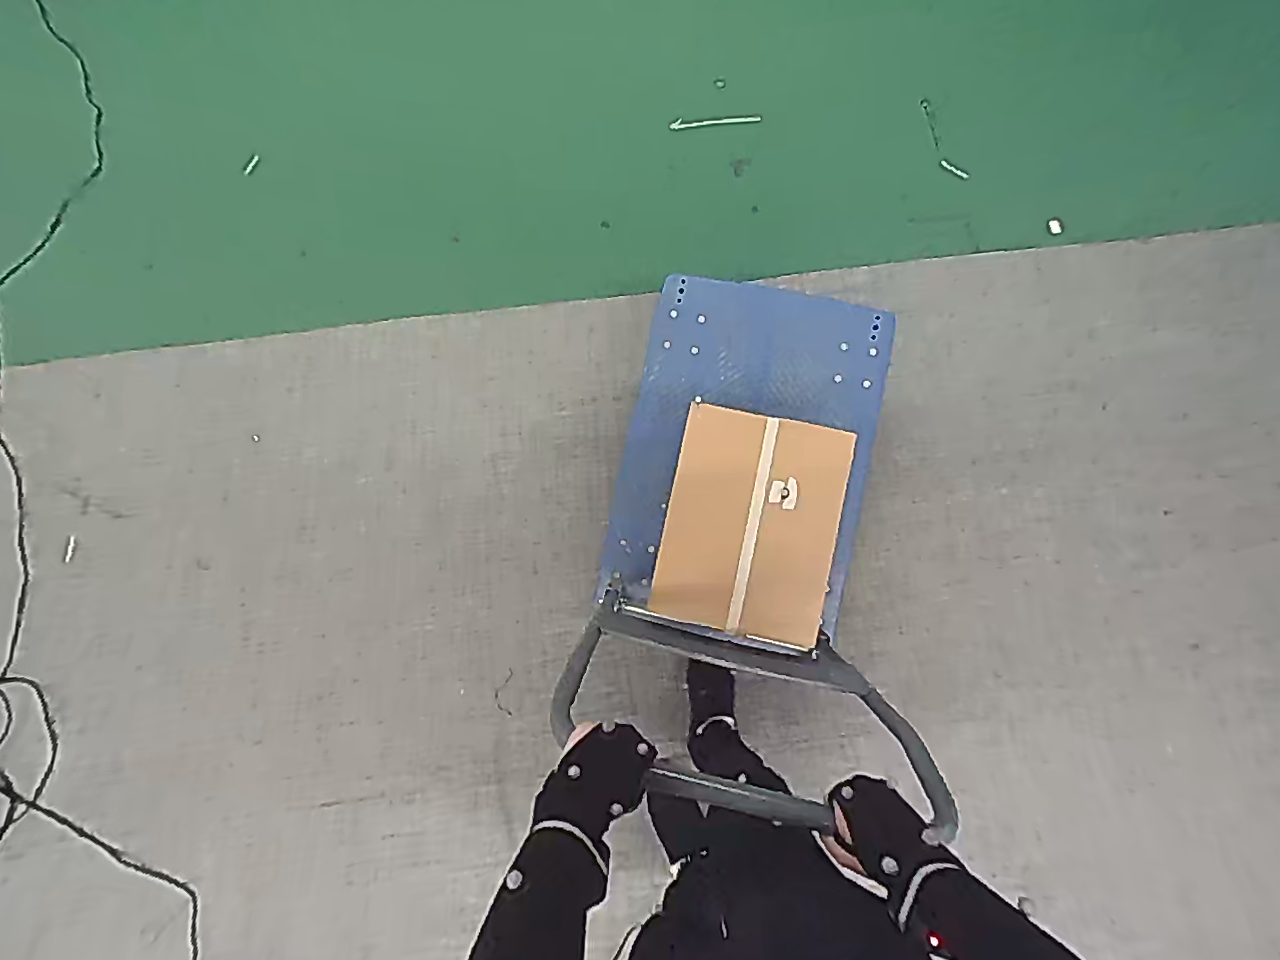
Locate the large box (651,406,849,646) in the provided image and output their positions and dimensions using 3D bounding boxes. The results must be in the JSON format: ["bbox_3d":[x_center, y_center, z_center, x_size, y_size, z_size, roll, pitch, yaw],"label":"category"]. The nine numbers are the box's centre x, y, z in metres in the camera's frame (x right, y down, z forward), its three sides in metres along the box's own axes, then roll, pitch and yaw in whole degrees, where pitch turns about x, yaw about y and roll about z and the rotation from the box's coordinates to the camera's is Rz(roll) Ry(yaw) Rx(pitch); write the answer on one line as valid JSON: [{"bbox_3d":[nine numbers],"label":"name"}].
[{"bbox_3d":[0.214,0.095,1.147,0.320,0.320,0.408,11,86,4],"label":"large box"}]
